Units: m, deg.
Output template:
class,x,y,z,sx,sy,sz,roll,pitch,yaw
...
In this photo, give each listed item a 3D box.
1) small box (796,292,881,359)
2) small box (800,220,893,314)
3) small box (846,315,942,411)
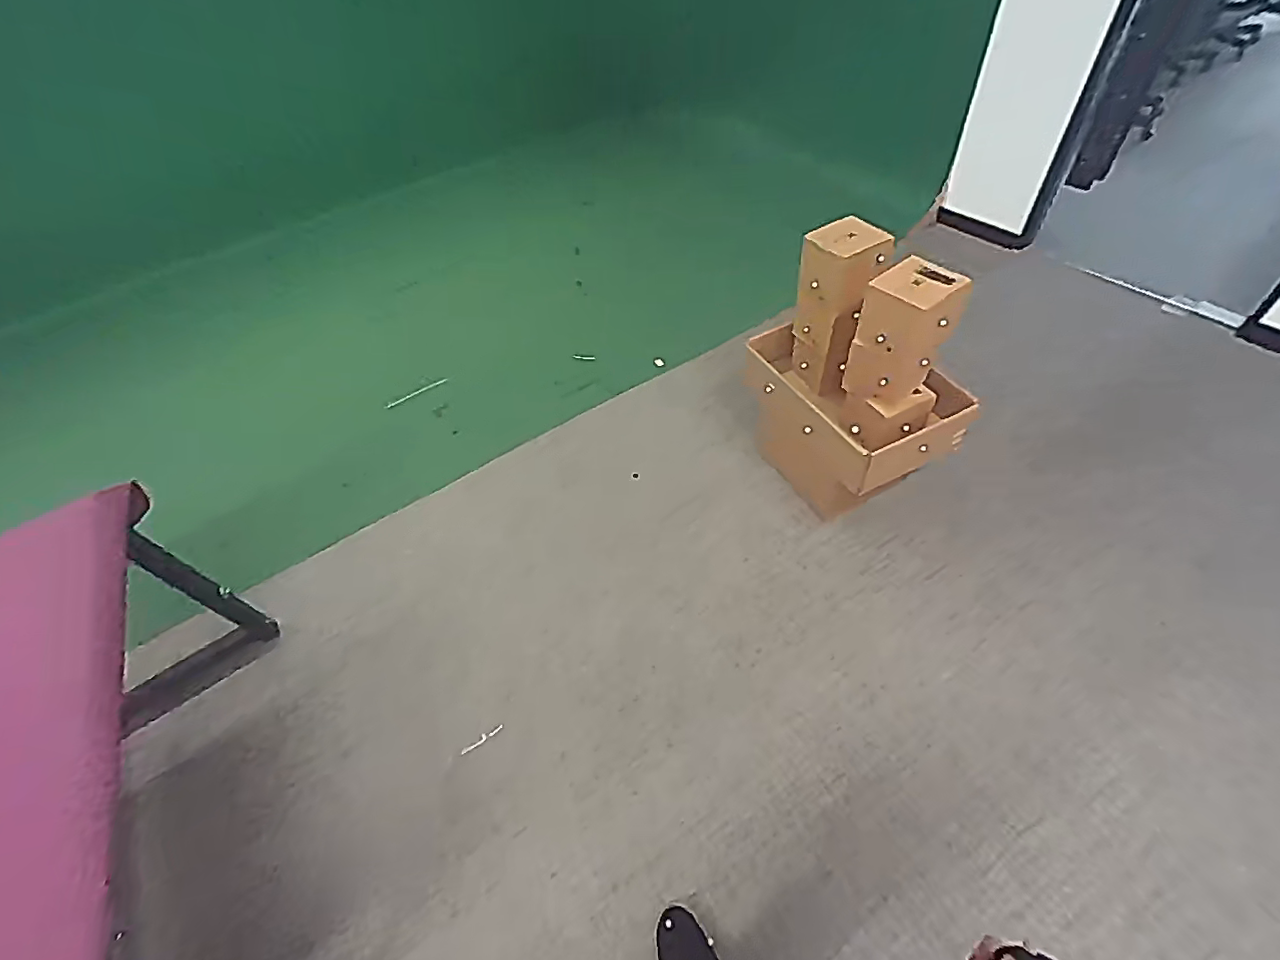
class,x,y,z,sx,sy,sz,roll,pitch,yaw
small box,0.604,-0.506,1.671,0.179,0.176,0.168,-27,52,-12
small box,0.579,-0.605,1.542,0.179,0.176,0.168,-26,51,-13
small box,0.695,-0.323,1.502,0.179,0.176,0.168,-38,55,-22
